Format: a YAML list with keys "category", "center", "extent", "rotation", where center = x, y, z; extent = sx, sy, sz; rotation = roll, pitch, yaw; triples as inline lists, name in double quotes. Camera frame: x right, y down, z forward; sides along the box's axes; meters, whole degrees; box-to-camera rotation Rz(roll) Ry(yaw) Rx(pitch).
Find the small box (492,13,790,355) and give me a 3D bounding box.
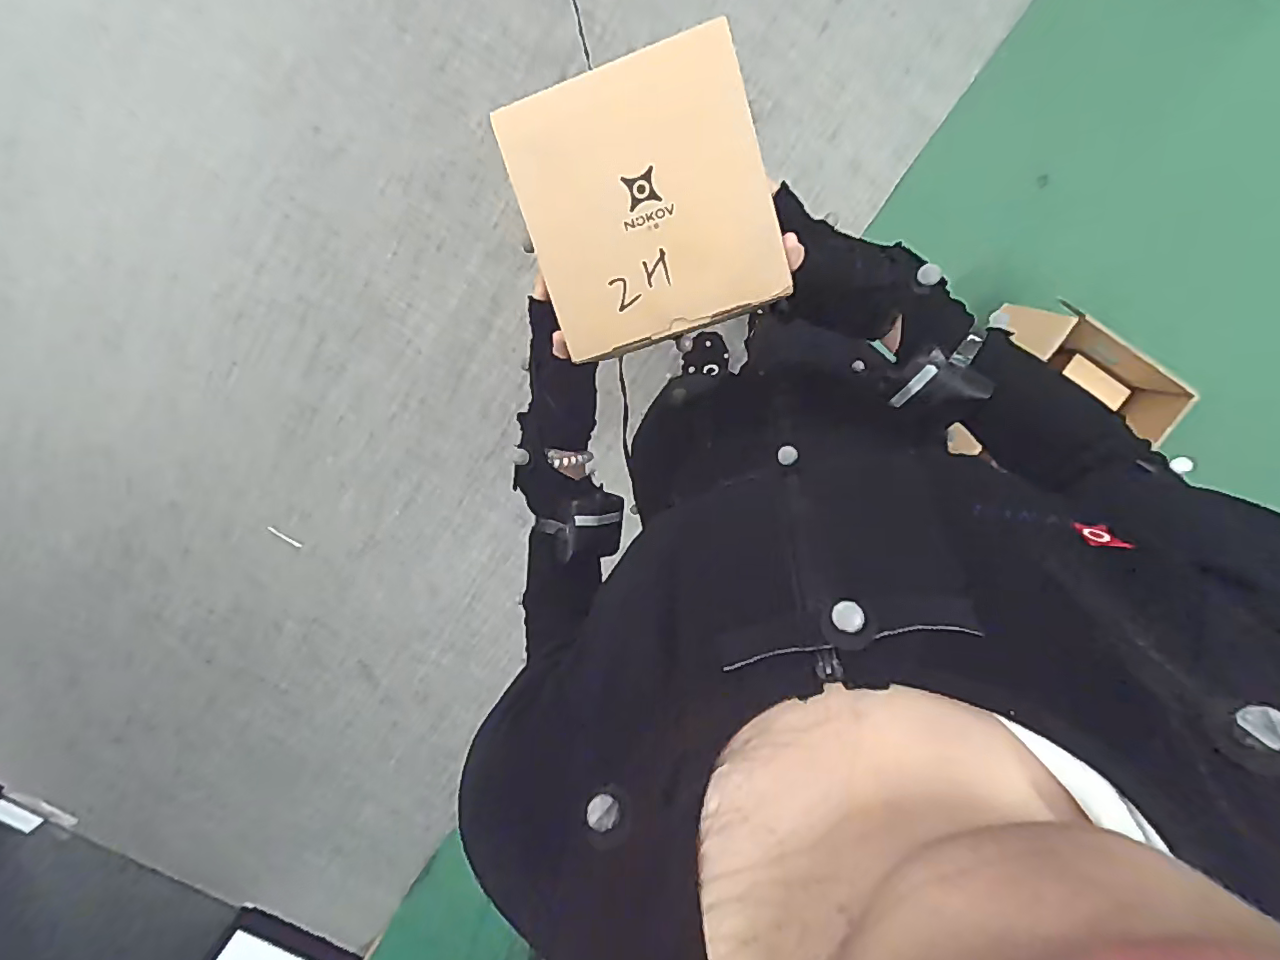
- category: "small box"
  center: [0.007, -0.208, 0.441]
  extent: [0.168, 0.176, 0.179]
  rotation: [-16, 102, 9]
